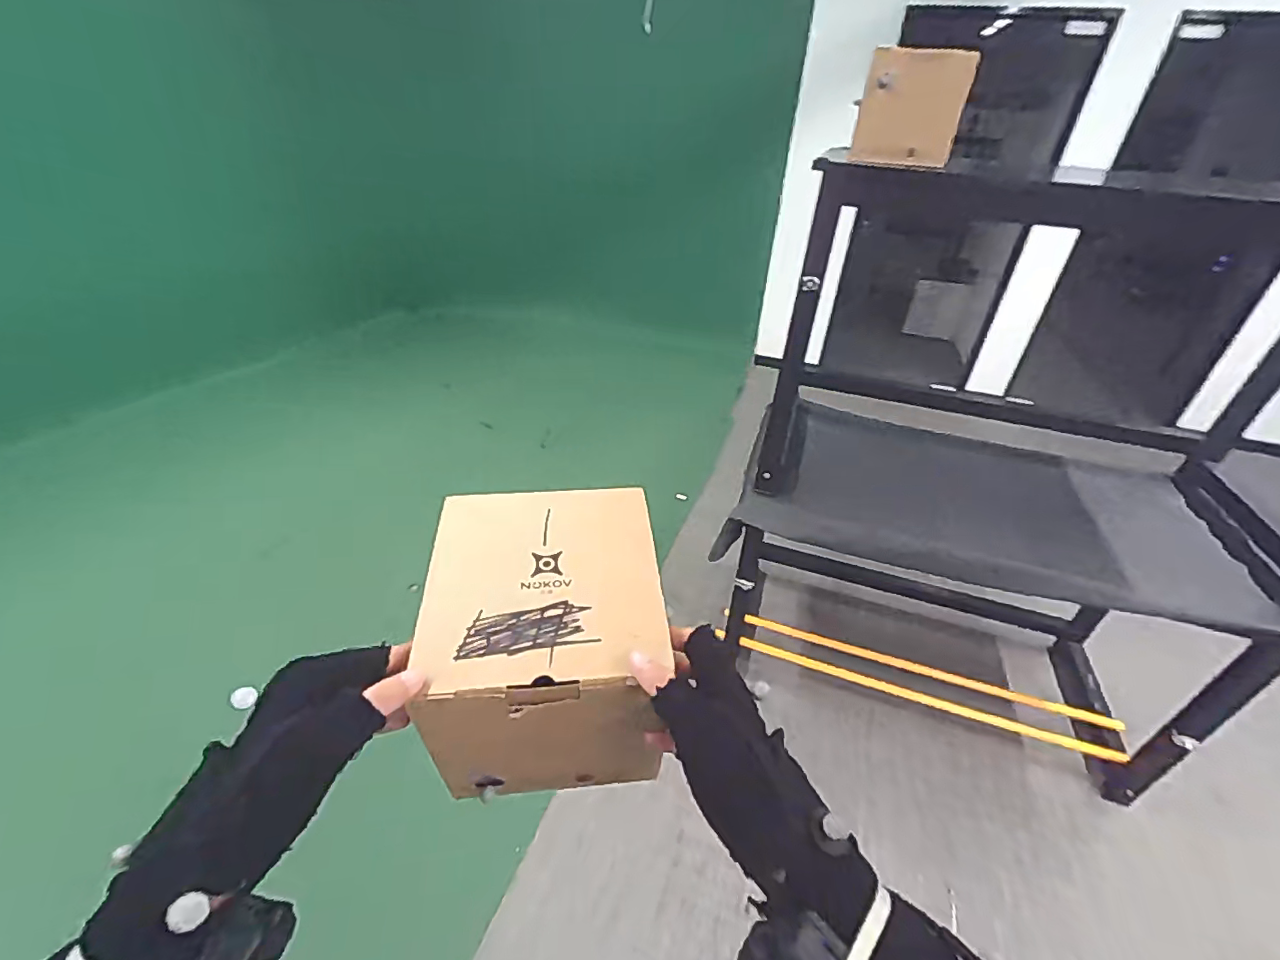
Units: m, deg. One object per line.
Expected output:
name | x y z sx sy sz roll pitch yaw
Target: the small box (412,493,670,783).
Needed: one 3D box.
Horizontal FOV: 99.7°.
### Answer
small box | -0.069 0.132 0.451 0.168 0.176 0.179 -2 41 -6
